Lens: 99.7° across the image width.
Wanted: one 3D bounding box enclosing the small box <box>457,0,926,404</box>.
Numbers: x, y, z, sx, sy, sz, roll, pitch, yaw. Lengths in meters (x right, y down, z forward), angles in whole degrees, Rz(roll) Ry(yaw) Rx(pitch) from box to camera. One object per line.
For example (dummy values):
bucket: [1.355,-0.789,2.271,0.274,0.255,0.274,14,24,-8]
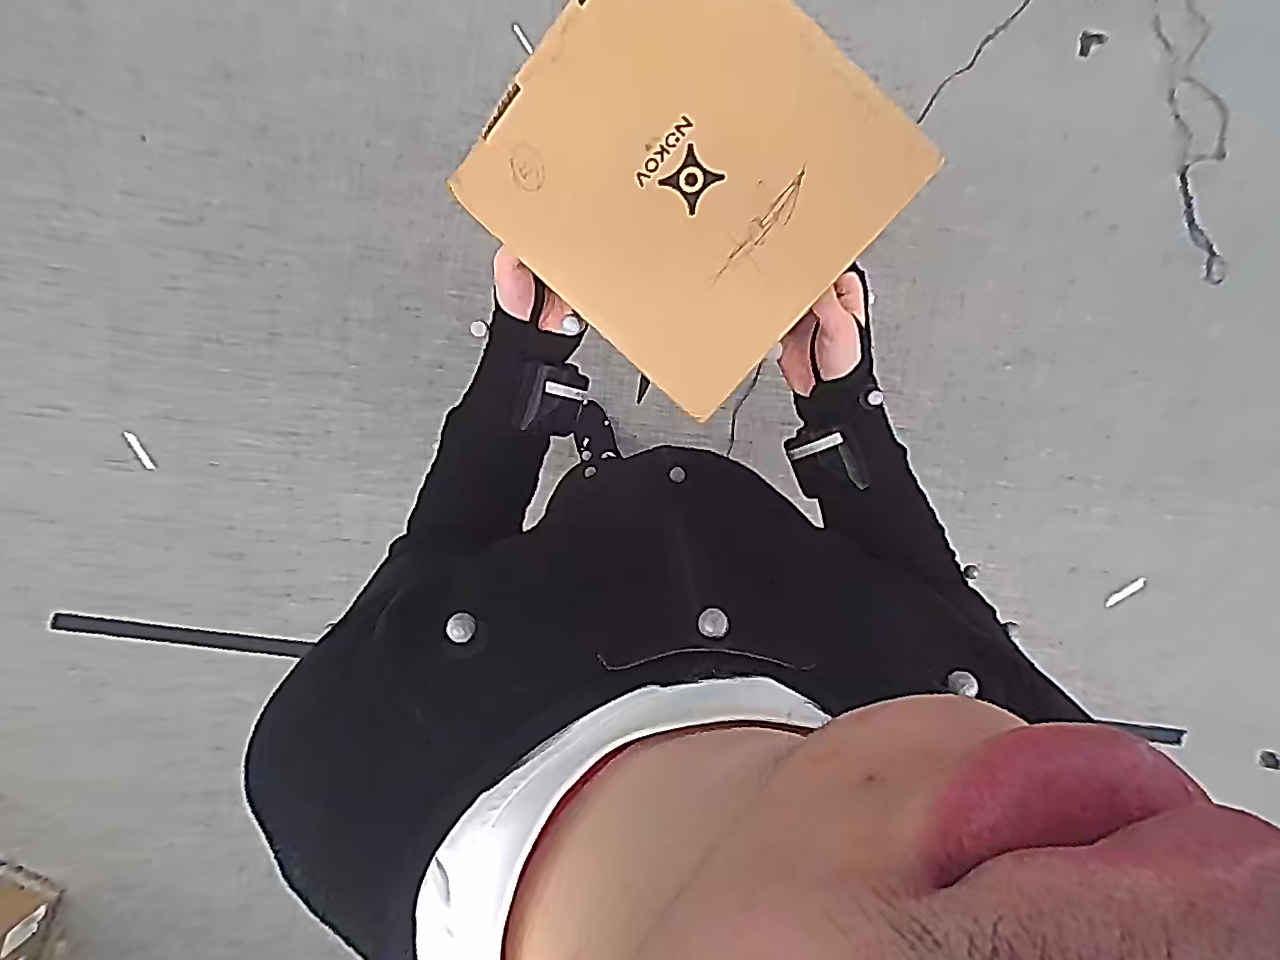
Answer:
small box: [0.027,-0.167,0.345,0.179,0.176,0.168,41,102,-5]
